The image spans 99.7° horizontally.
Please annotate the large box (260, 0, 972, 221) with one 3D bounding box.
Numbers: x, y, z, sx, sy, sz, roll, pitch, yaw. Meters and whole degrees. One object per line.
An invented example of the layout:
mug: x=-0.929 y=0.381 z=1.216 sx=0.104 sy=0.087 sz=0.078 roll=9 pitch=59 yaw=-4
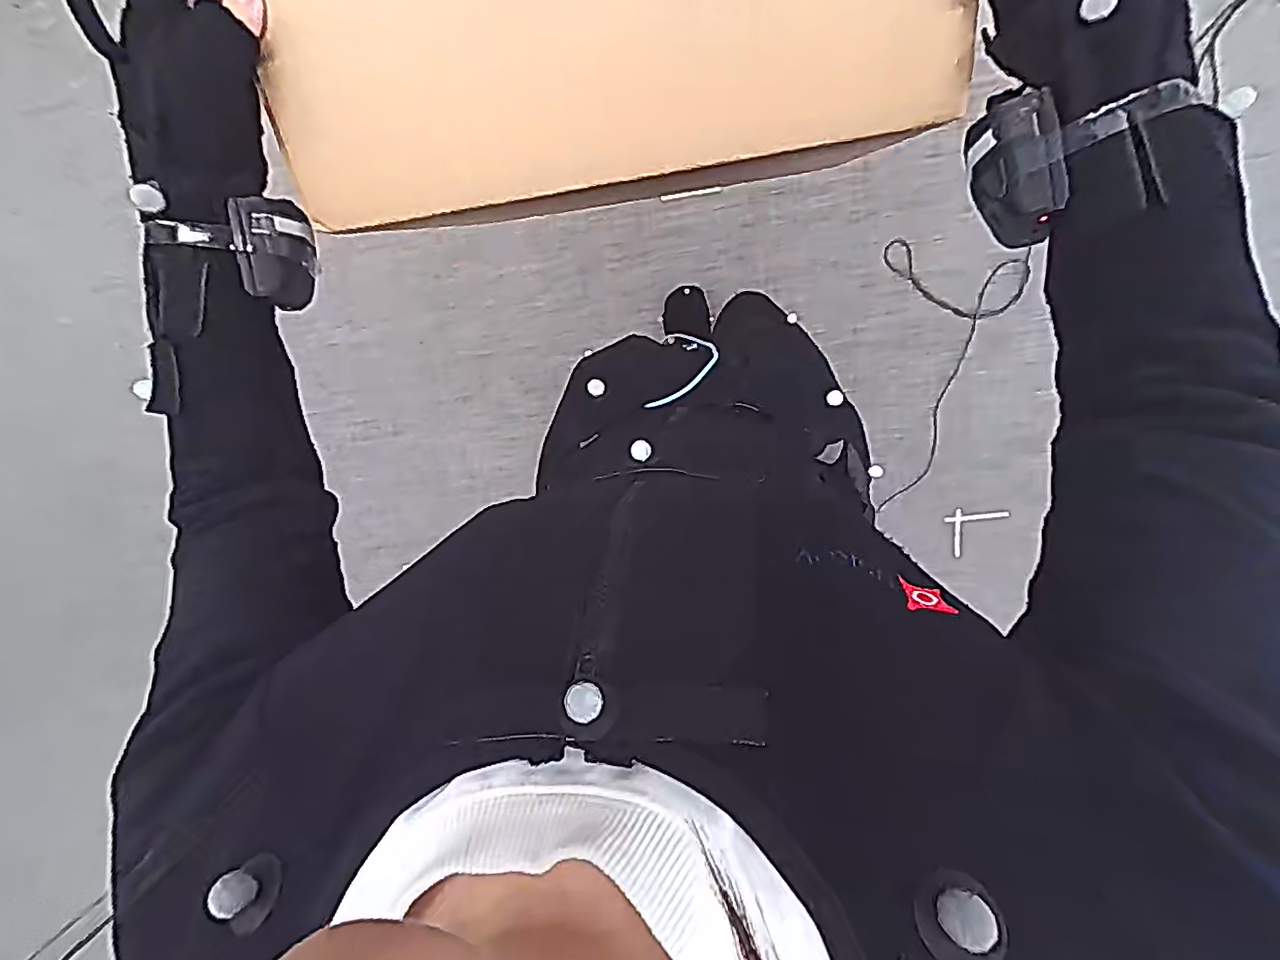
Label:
large box: x=-0.021 y=-0.399 z=0.407 sx=0.408 sy=0.320 sz=0.320 roll=-5 pitch=116 yaw=10
